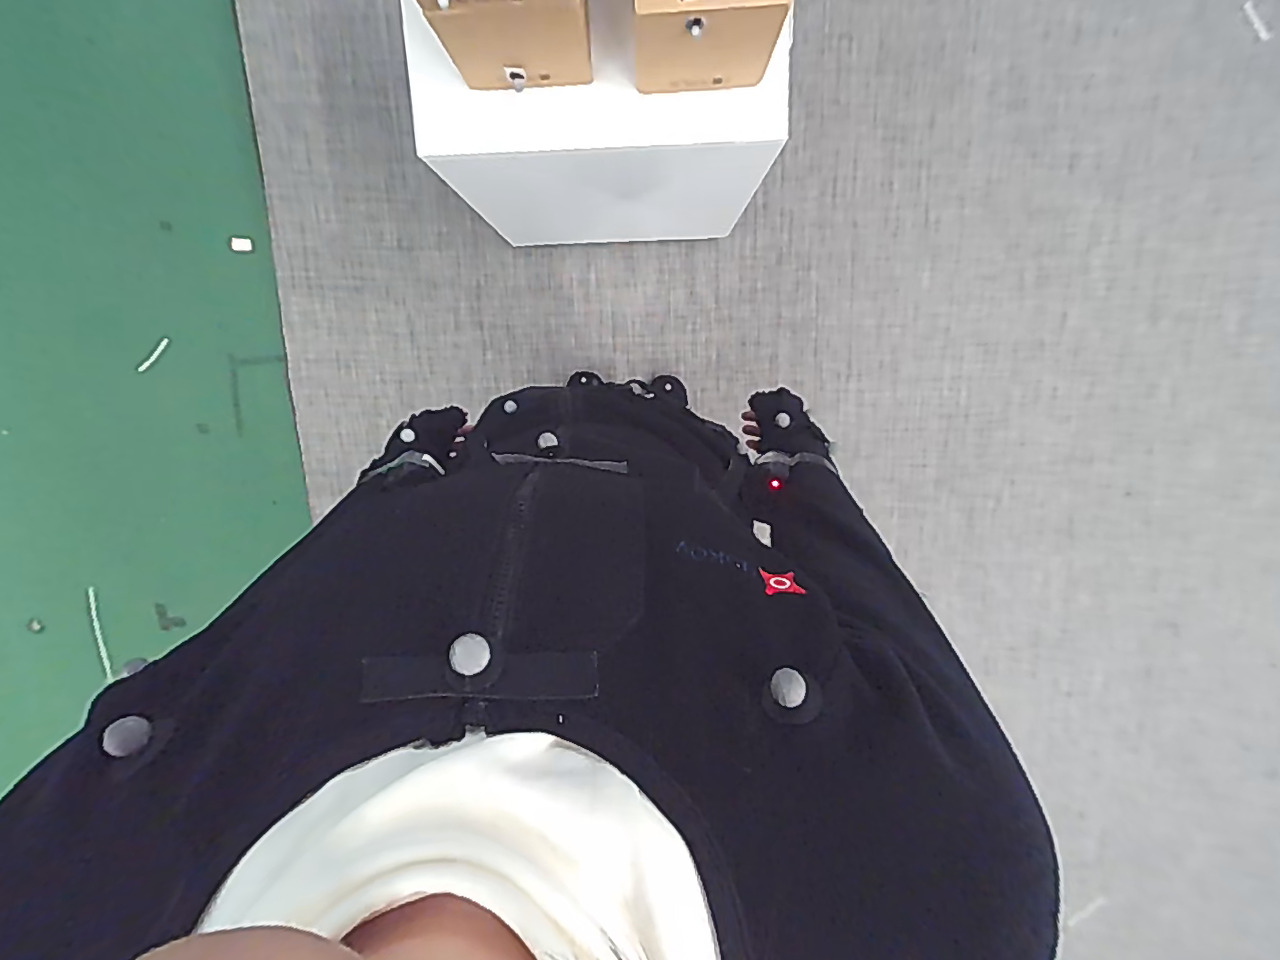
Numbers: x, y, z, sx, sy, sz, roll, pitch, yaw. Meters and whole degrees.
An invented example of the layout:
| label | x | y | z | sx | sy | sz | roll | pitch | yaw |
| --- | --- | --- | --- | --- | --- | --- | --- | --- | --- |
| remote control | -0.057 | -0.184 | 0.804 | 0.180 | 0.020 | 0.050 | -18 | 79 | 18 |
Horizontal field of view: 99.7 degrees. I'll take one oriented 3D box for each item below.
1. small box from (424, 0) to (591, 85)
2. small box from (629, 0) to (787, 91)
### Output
| label | x | y | z | sx | sy | sz | roll | pitch | yaw |
| --- | --- | --- | --- | --- | --- | --- | --- | --- | --- |
| small box | -0.150 | -0.595 | 0.617 | 0.168 | 0.176 | 0.179 | -4 | 102 | 2 |
| small box | 0.070 | -0.594 | 0.628 | 0.168 | 0.176 | 0.179 | -2 | 100 | 1 |
